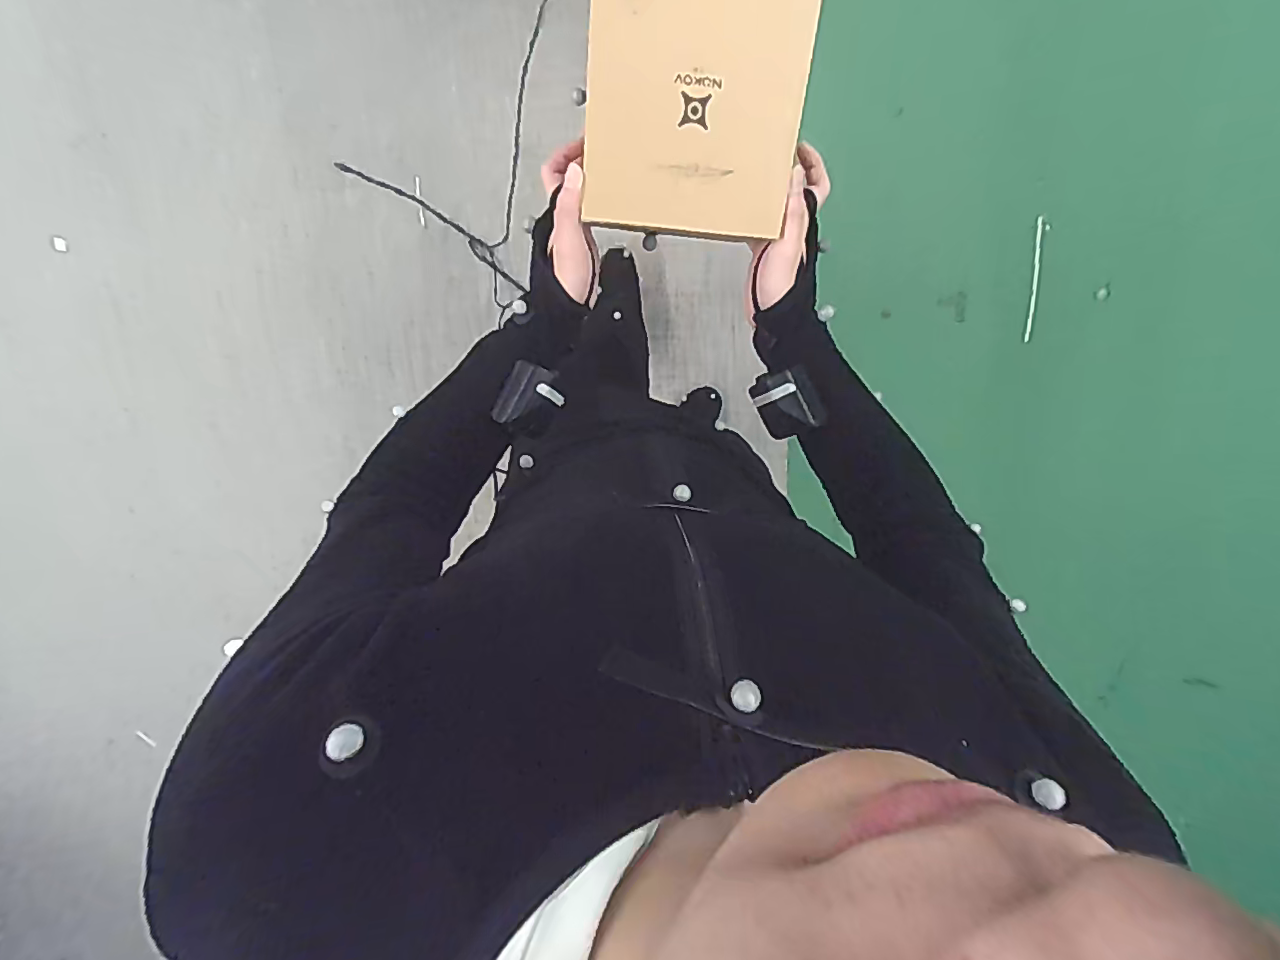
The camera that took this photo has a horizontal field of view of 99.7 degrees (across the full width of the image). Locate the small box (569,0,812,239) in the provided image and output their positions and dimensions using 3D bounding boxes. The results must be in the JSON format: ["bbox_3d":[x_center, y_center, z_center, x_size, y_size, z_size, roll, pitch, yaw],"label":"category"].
[{"bbox_3d":[0.030,-0.314,0.470,0.168,0.176,0.179,4,113,-3],"label":"small box"}]
